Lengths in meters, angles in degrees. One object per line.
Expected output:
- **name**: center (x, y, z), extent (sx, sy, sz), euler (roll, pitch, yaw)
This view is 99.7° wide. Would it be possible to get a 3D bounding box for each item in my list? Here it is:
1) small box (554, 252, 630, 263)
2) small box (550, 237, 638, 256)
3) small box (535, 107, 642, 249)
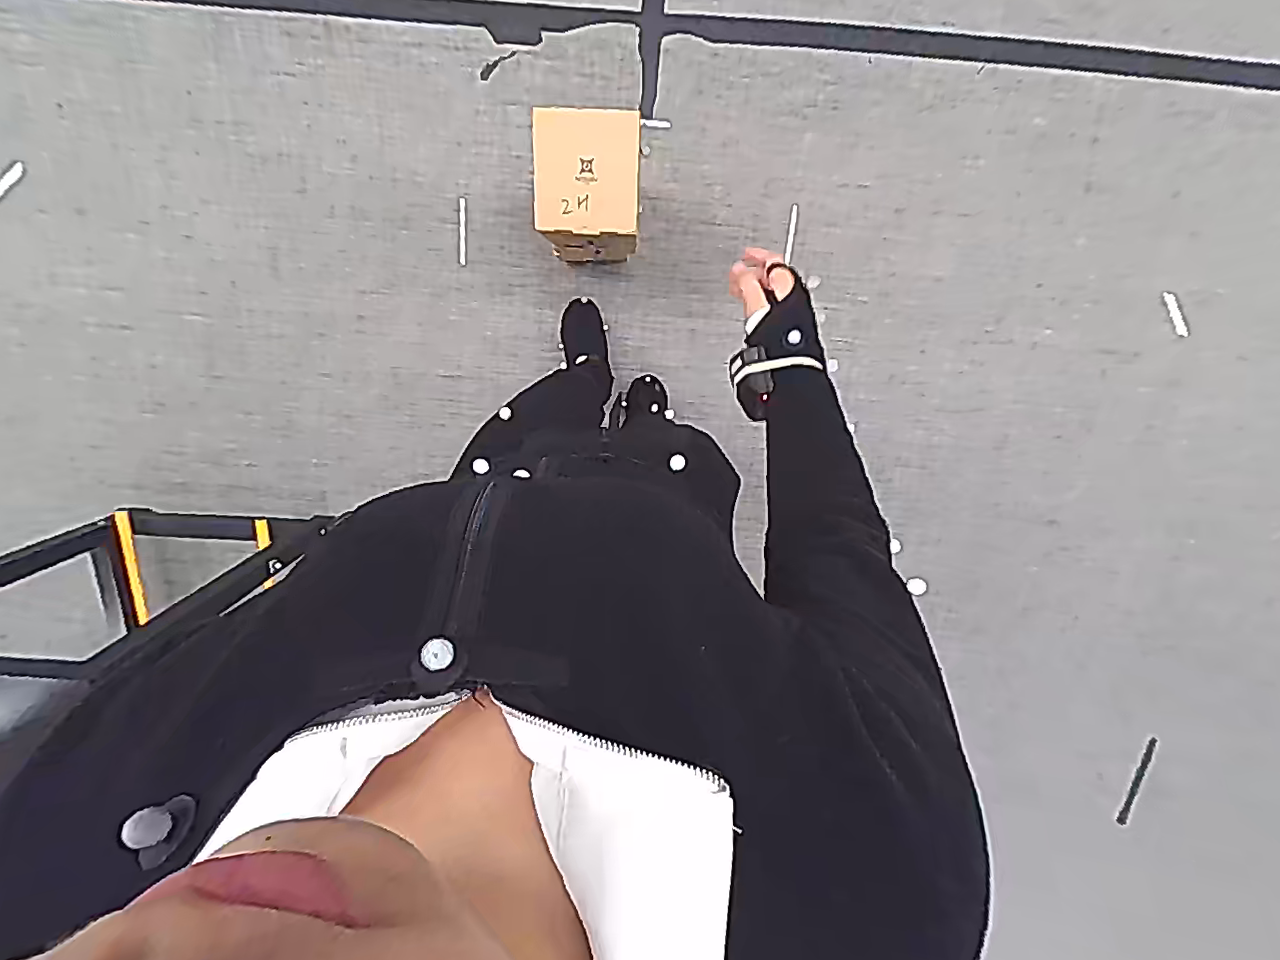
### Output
- **small box**: center (-0.109, -0.597, 1.235), extent (0.168, 0.176, 0.179), euler (-1, 108, 1)
- **small box**: center (-0.091, -0.547, 1.079), extent (0.168, 0.176, 0.179), euler (-2, 107, 1)
- **small box**: center (-0.082, -0.502, 0.919), extent (0.168, 0.176, 0.179), euler (2, 107, 0)
